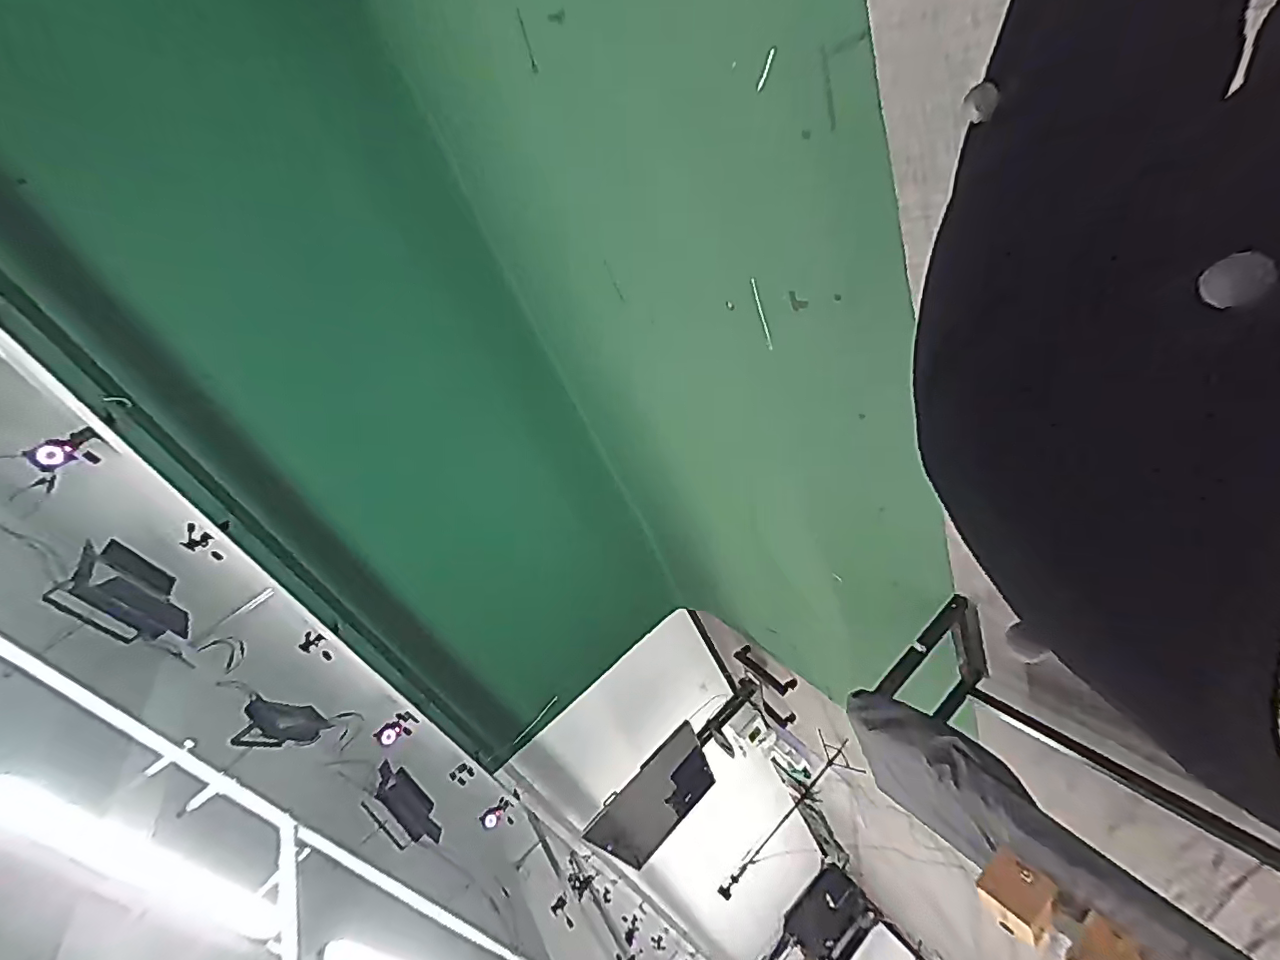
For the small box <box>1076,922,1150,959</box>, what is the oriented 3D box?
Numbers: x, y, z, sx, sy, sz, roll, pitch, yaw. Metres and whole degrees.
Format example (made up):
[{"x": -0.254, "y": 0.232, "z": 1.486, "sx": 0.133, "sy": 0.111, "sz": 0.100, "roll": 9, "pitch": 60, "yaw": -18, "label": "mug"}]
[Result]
[{"x": 1.326, "y": 1.383, "z": 1.493, "sx": 0.168, "sy": 0.176, "sz": 0.179, "roll": 23, "pitch": 147, "yaw": 55, "label": "small box"}]

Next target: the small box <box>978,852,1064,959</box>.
[{"x": 1.200, "y": 1.328, "z": 1.696, "sx": 0.168, "sy": 0.176, "sz": 0.179, "roll": 19, "pitch": 142, "yaw": 56, "label": "small box"}]
